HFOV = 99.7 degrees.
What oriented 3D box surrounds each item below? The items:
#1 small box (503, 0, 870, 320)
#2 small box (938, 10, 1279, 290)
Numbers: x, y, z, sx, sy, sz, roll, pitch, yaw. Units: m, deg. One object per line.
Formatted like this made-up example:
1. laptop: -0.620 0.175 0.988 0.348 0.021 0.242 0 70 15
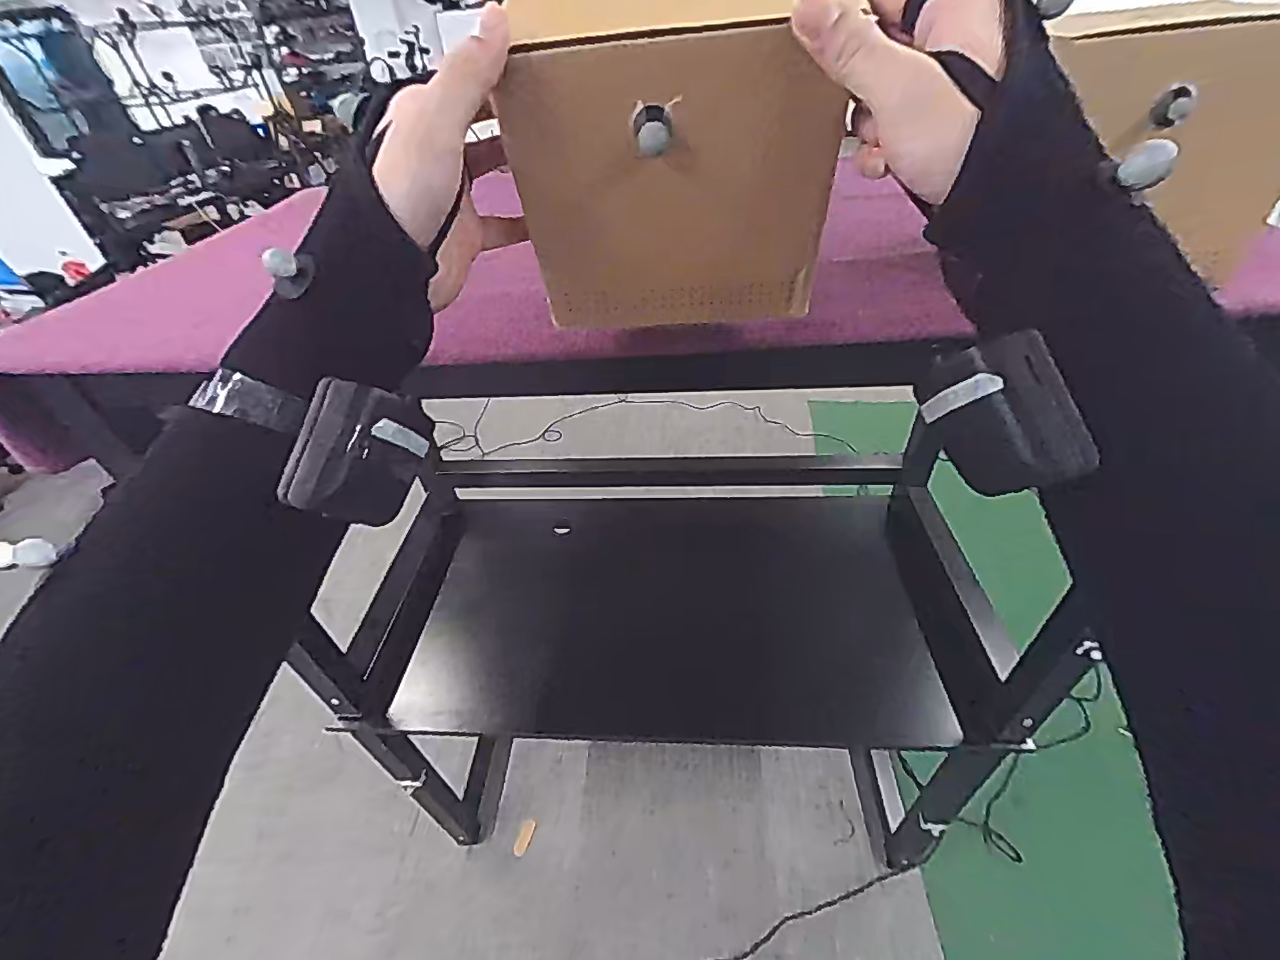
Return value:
1. small box: 0.031 -0.227 0.362 0.179 0.176 0.168 -2 57 7
2. small box: 0.368 -0.266 0.445 0.179 0.176 0.168 2 42 9
